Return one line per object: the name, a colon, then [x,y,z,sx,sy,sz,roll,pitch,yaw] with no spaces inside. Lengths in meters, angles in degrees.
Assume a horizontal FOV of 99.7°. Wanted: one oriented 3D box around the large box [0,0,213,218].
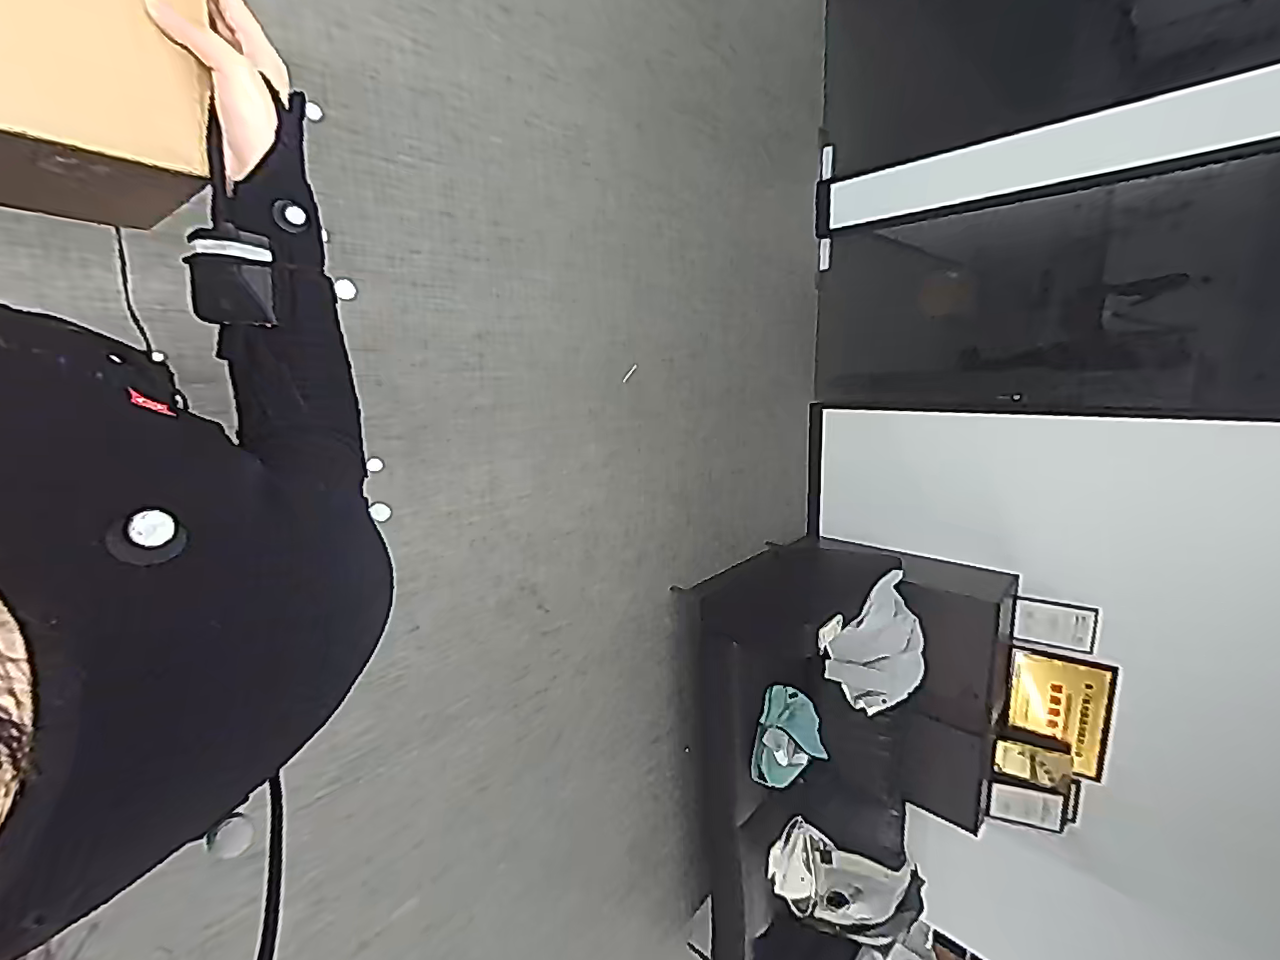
large box: [-0.546,-0.374,0.306,0.408,0.320,0.320,-11,109,-49]
